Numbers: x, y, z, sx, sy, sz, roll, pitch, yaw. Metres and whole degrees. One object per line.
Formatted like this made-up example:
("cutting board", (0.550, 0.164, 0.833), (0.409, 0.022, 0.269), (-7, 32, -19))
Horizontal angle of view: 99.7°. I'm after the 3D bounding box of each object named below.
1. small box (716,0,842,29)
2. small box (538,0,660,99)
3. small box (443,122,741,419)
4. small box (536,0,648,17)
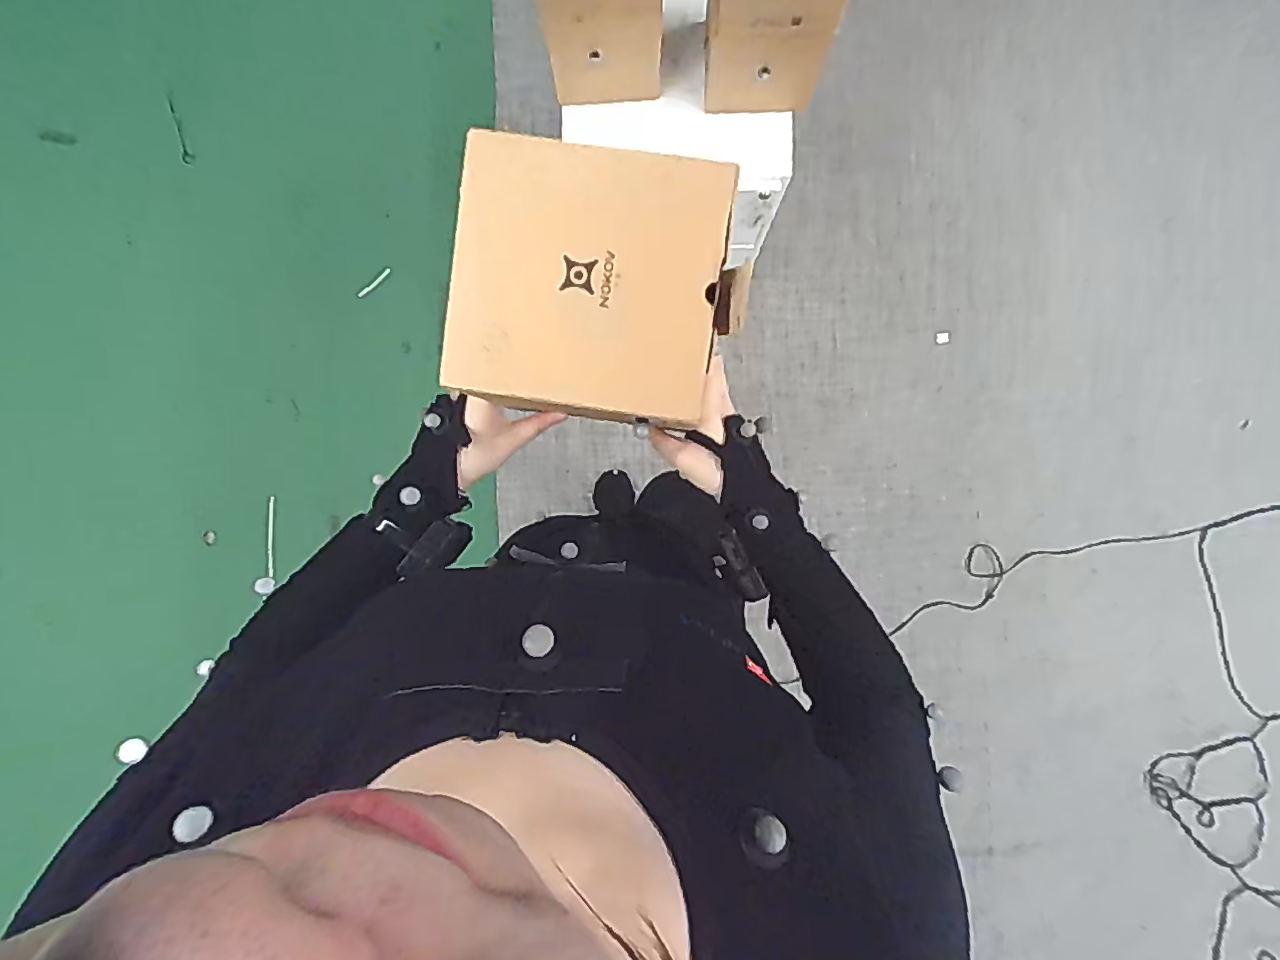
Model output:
("small box", (0.185, -0.709, 0.674), (0.168, 0.176, 0.179), (0, 89, 2))
("small box", (-0.061, -0.733, 0.845), (0.179, 0.176, 0.168), (-4, 90, 0))
("small box", (-0.030, -0.141, 0.427), (0.179, 0.176, 0.168), (8, 94, 1))
("small box", (-0.062, -0.737, 0.681), (0.179, 0.176, 0.168), (-5, 88, 0))
